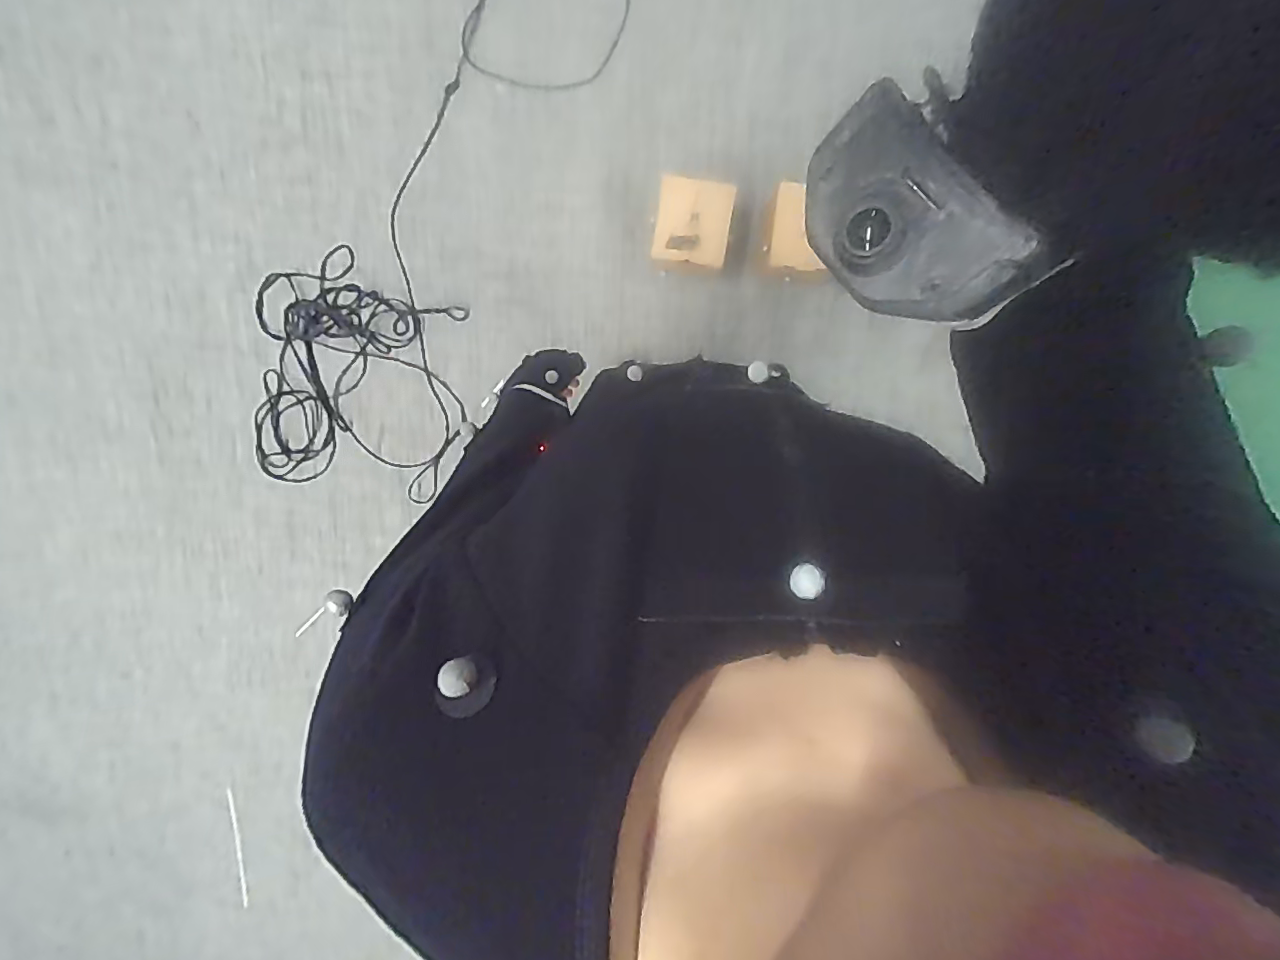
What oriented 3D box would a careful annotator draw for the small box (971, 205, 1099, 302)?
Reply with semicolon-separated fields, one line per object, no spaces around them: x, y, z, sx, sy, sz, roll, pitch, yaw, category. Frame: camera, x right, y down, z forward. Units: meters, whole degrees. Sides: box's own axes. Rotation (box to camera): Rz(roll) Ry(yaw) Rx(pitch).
0.921;-0.527;1.278;0.168;0.176;0.179;5;102;1;small box

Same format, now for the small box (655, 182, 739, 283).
0.131;-0.580;1.291;0.168;0.176;0.179;9;102;0;small box

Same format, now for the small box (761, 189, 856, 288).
0.392;-0.566;1.286;0.168;0.176;0.179;5;102;1;small box
